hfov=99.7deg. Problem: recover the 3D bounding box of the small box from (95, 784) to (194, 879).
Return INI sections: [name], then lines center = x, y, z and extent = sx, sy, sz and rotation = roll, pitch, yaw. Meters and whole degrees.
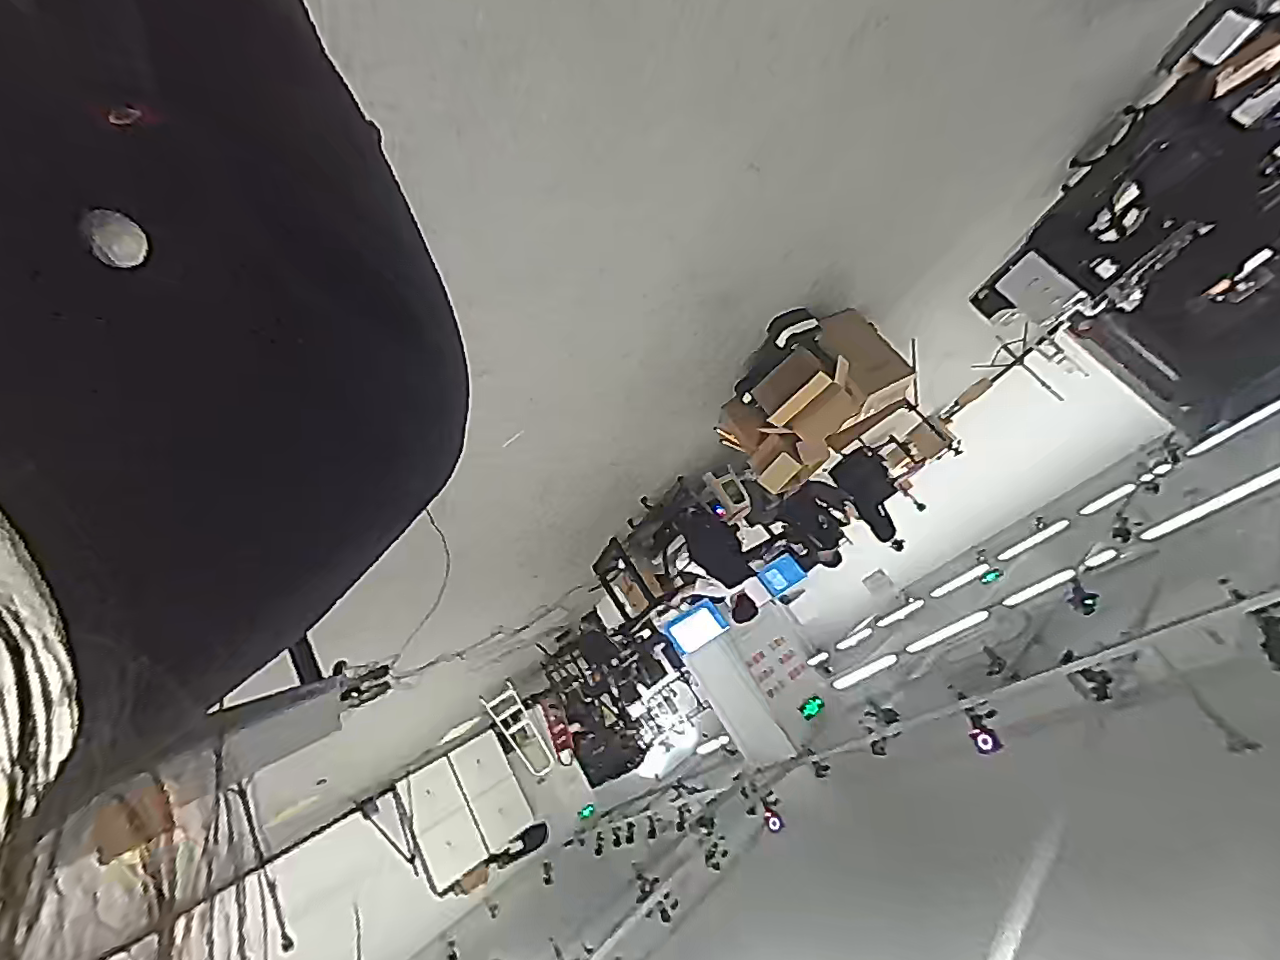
[small box]
center = -1.486, 1.053, 1.627
extent = 0.179, 0.176, 0.168
rotation = -18, 153, -38
